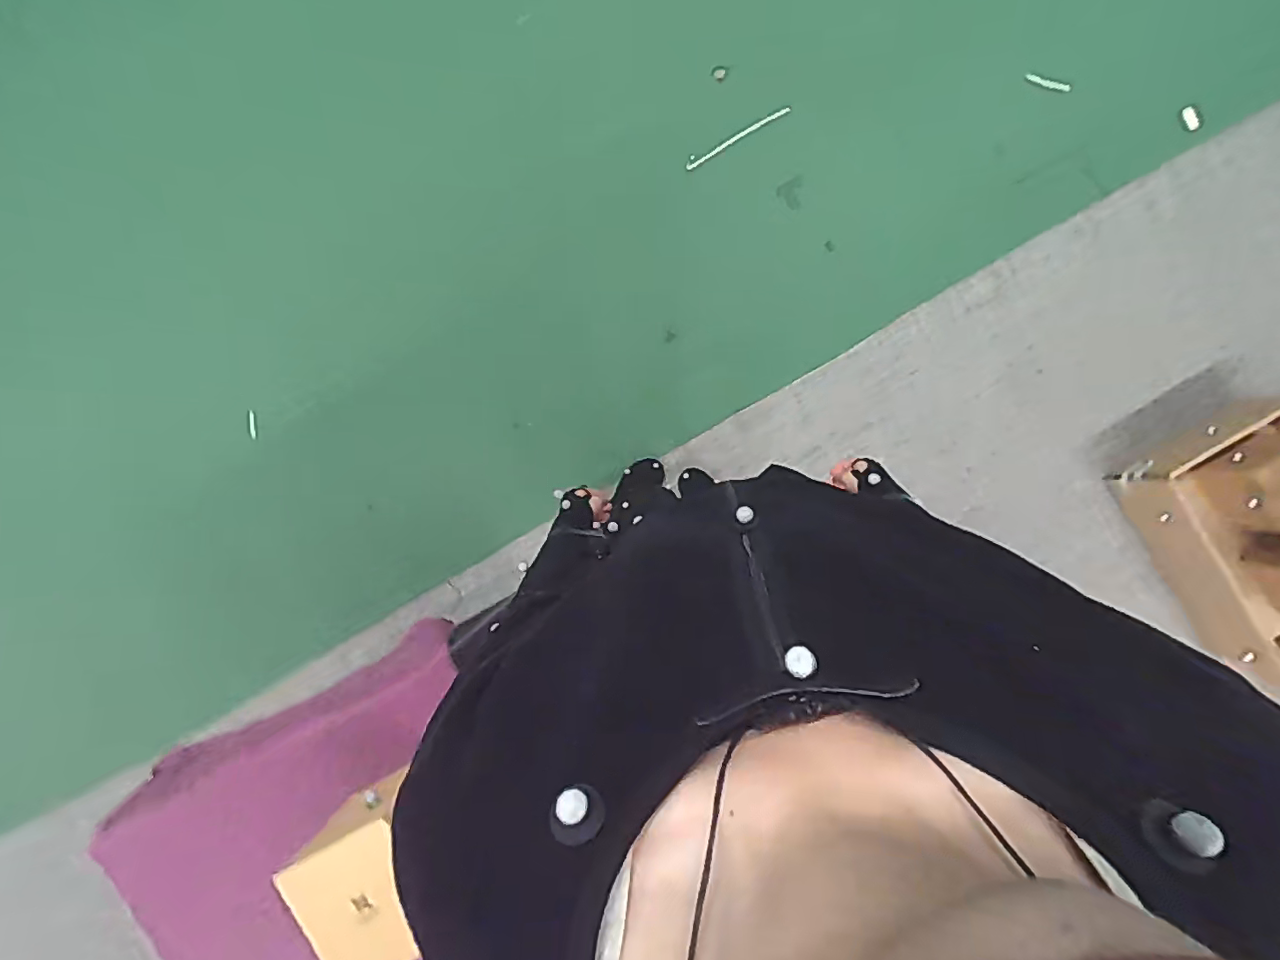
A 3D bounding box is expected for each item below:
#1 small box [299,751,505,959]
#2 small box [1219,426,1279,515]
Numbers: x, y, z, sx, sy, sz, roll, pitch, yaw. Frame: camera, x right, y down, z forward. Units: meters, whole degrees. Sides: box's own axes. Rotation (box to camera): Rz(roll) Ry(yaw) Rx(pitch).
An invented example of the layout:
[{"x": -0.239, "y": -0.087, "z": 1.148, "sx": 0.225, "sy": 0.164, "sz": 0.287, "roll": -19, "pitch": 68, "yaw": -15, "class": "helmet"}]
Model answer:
[{"x": -0.320, "y": 0.519, "z": 0.763, "sx": 0.168, "sy": 0.176, "sz": 0.179, "roll": -31, "pitch": 91, "yaw": 4, "class": "small box"}, {"x": 1.540, "y": -0.023, "z": 1.261, "sx": 0.168, "sy": 0.176, "sz": 0.179, "roll": -35, "pitch": 91, "yaw": 7, "class": "small box"}]
